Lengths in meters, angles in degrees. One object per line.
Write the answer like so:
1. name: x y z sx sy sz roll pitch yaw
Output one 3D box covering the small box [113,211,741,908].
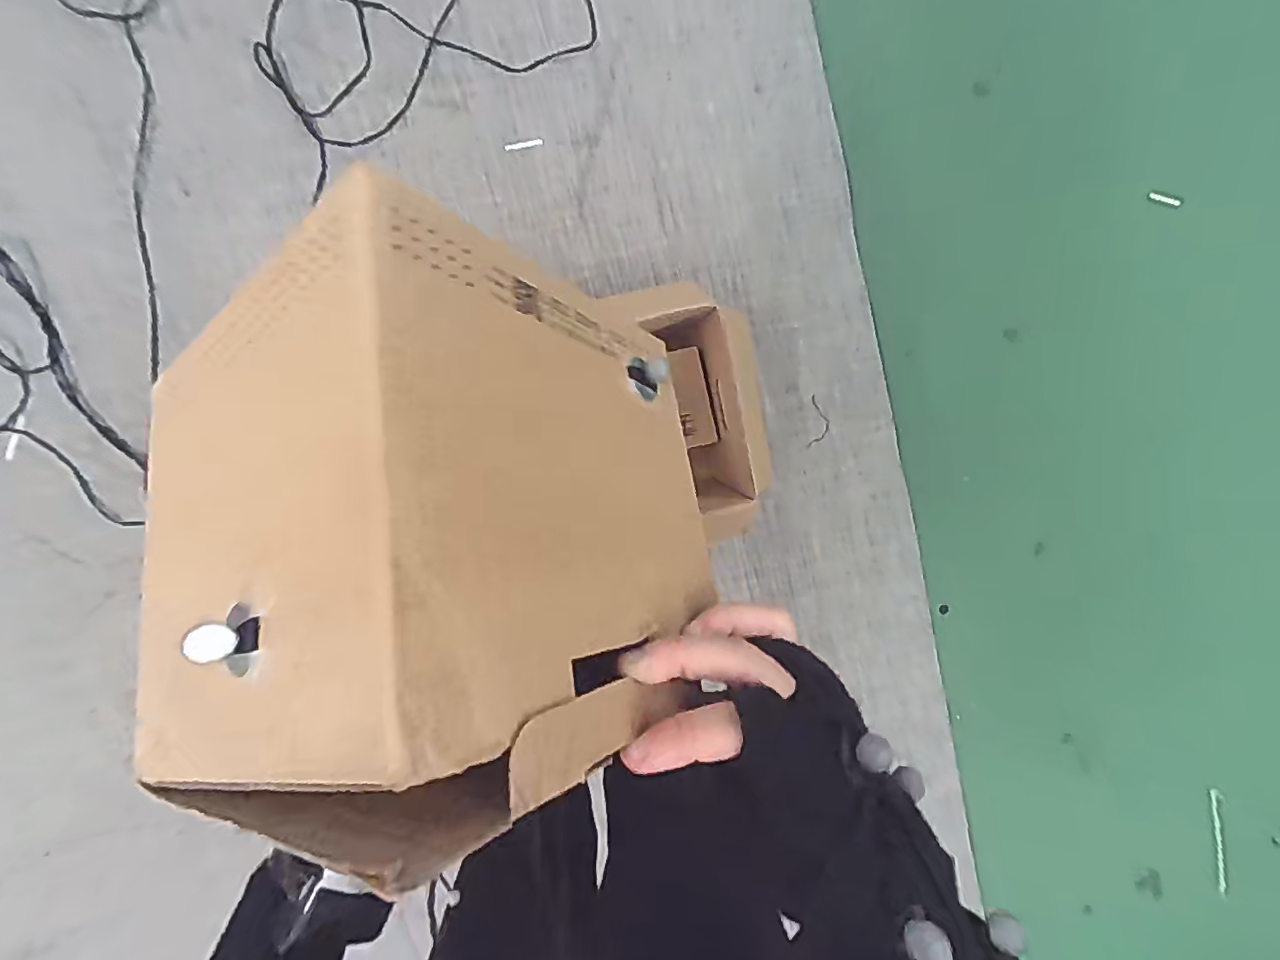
1. small box: -0.086 0.031 0.227 0.179 0.168 0.176 -20 73 32
